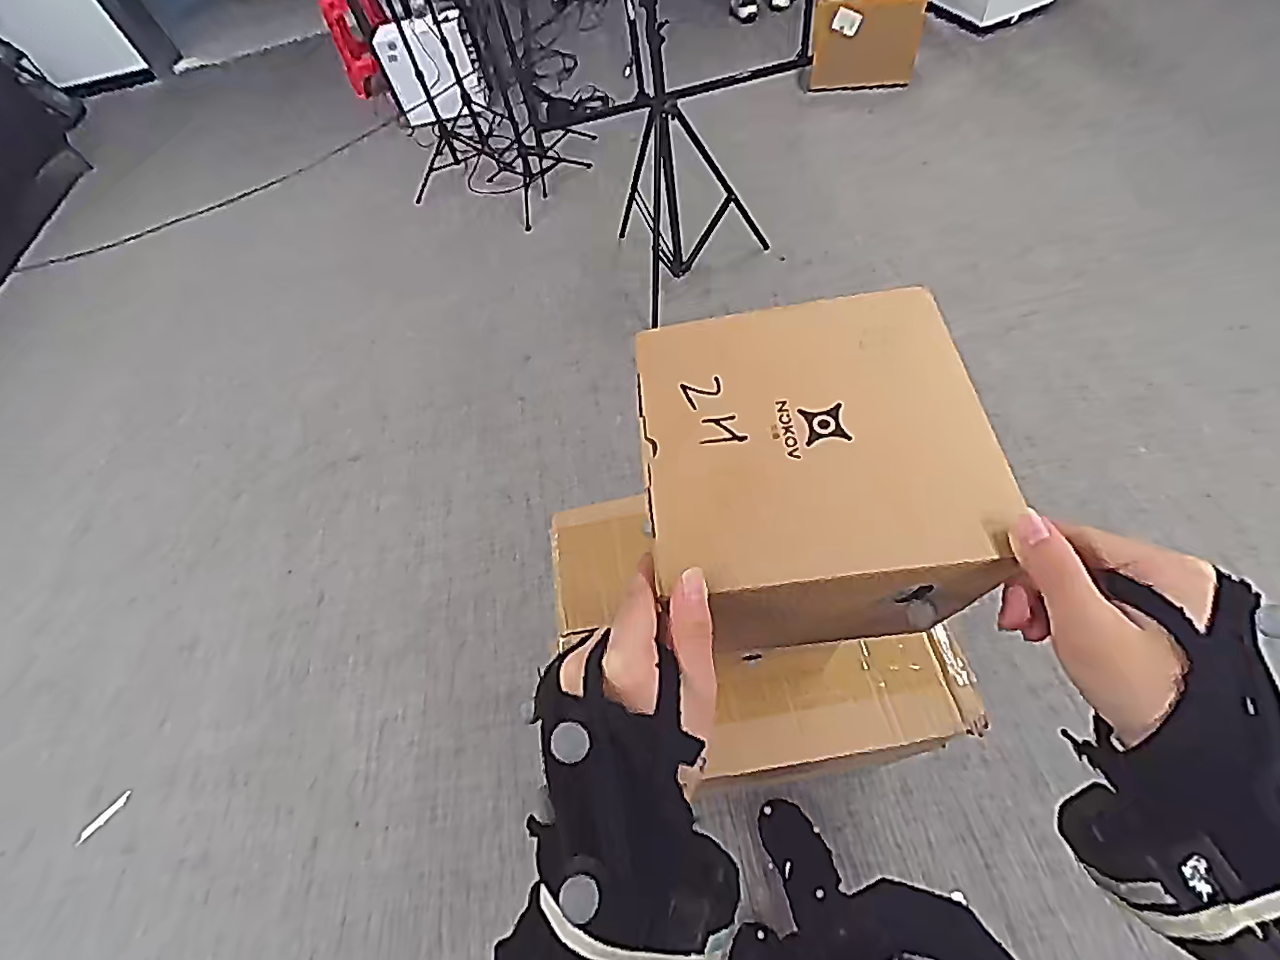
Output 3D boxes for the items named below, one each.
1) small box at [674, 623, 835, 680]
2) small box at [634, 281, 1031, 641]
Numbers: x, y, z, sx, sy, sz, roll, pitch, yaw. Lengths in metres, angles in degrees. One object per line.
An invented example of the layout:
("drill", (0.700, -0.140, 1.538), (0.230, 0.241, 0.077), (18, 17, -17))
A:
("small box", (0.130, 0.140, 0.670), (0.179, 0.176, 0.168), (-10, 58, 3))
("small box", (0.098, 0.003, 0.357), (0.179, 0.176, 0.168), (-8, 62, 6))
